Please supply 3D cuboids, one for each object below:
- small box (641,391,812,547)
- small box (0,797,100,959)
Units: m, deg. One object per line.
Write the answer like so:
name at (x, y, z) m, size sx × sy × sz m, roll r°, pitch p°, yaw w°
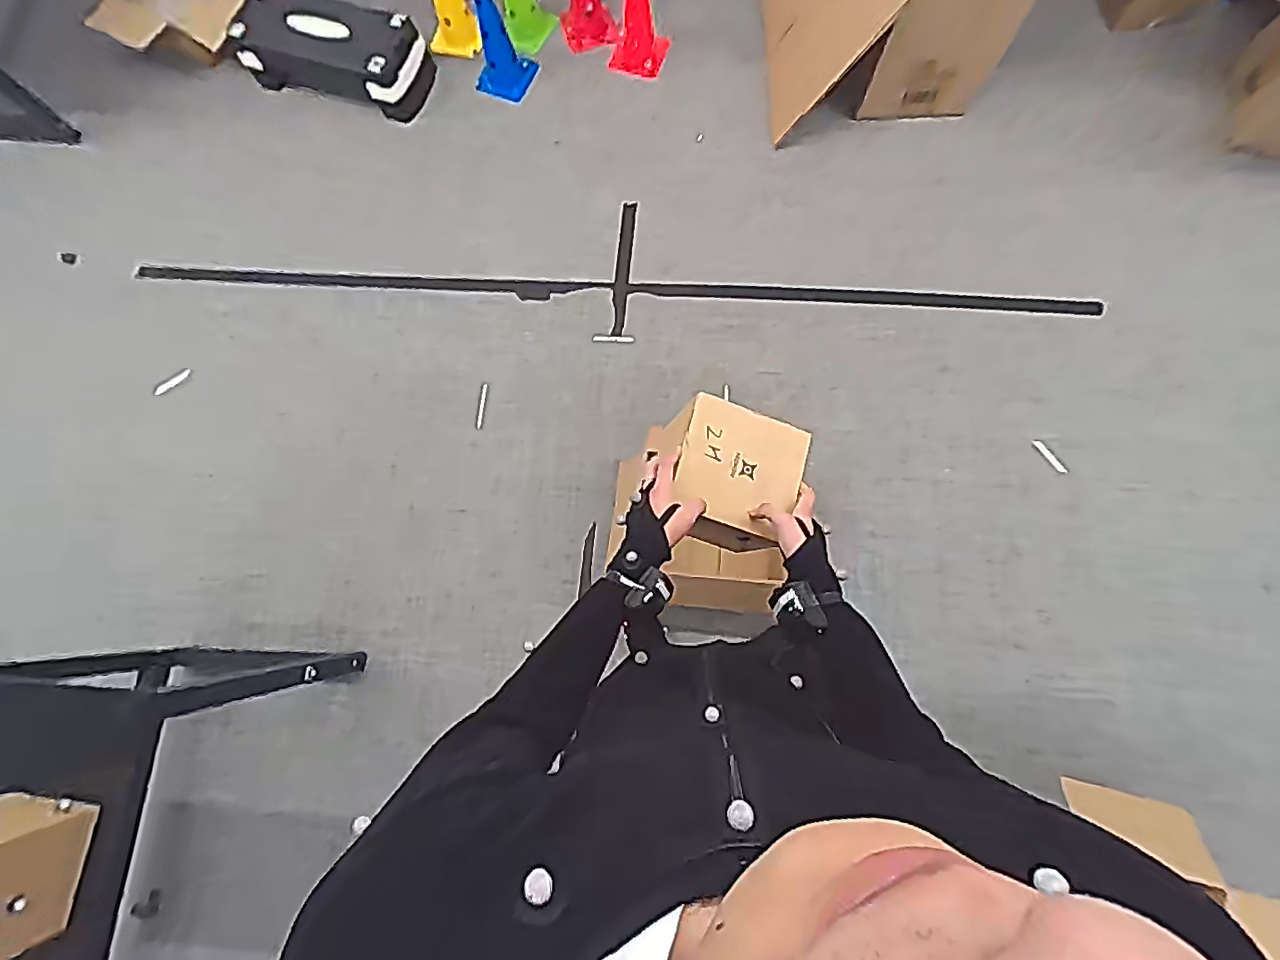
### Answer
small box at (0.118, -0.004, 0.792) m, size 0.179 × 0.176 × 0.168 m, roll 19°, pitch 75°, yaw -8°
small box at (-0.962, 0.592, 0.791) m, size 0.168 × 0.176 × 0.179 m, roll 5°, pitch 79°, yaw 5°
